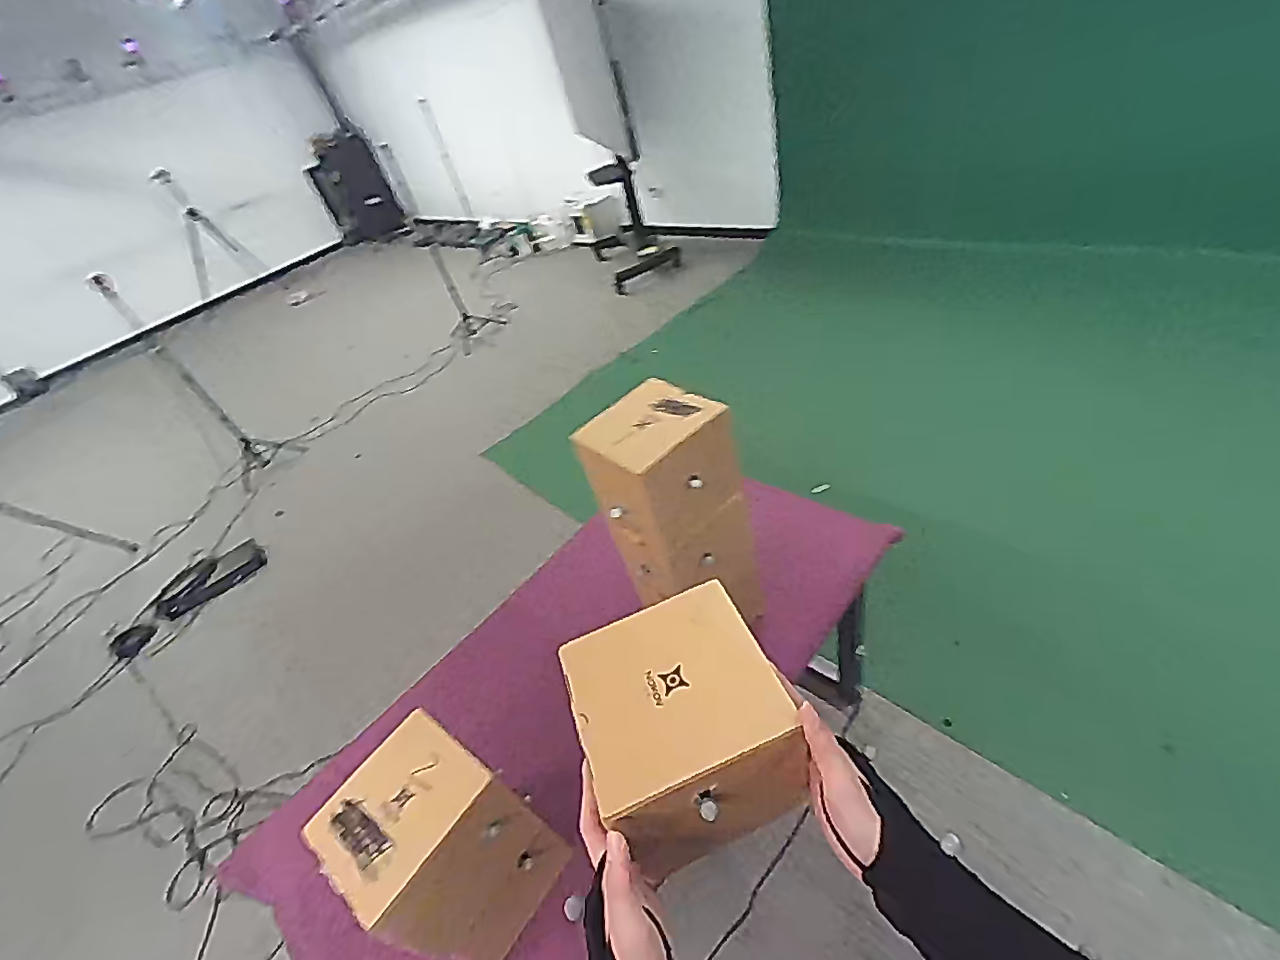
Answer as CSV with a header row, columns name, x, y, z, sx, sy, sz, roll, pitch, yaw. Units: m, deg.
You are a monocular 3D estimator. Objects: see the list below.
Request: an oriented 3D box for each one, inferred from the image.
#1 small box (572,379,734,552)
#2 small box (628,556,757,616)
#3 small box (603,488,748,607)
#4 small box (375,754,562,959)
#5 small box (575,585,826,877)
name,x,y,z,sx,sy,sz,roll,pitch,yaw
small box,0.029,-0.024,0.836,0.179,0.176,0.168,-39,44,-21
small box,0.109,0.215,1.045,0.179,0.176,0.168,-35,43,-19
small box,0.070,0.097,0.940,0.179,0.176,0.168,-38,44,-20
small box,-0.236,0.553,0.791,0.168,0.176,0.179,18,52,36
small box,0.058,0.239,0.520,0.179,0.176,0.168,-22,39,-5
